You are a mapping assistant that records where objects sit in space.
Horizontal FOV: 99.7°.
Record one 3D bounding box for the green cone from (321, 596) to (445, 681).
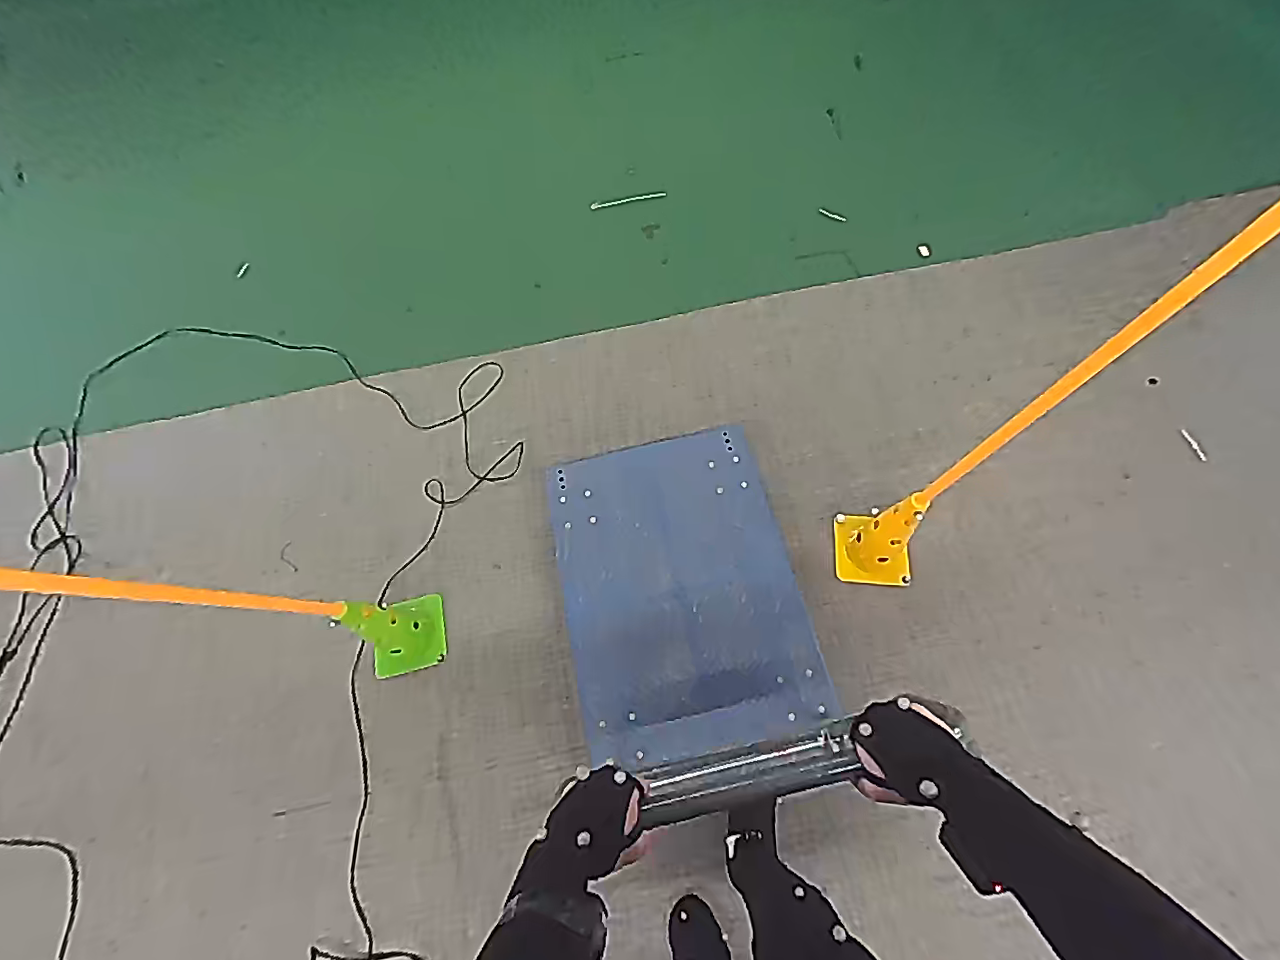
[{"bbox_3d":[-0.668,0.368,1.362,0.202,0.368,0.200,-16,64,-1],"label":"green cone"}]
